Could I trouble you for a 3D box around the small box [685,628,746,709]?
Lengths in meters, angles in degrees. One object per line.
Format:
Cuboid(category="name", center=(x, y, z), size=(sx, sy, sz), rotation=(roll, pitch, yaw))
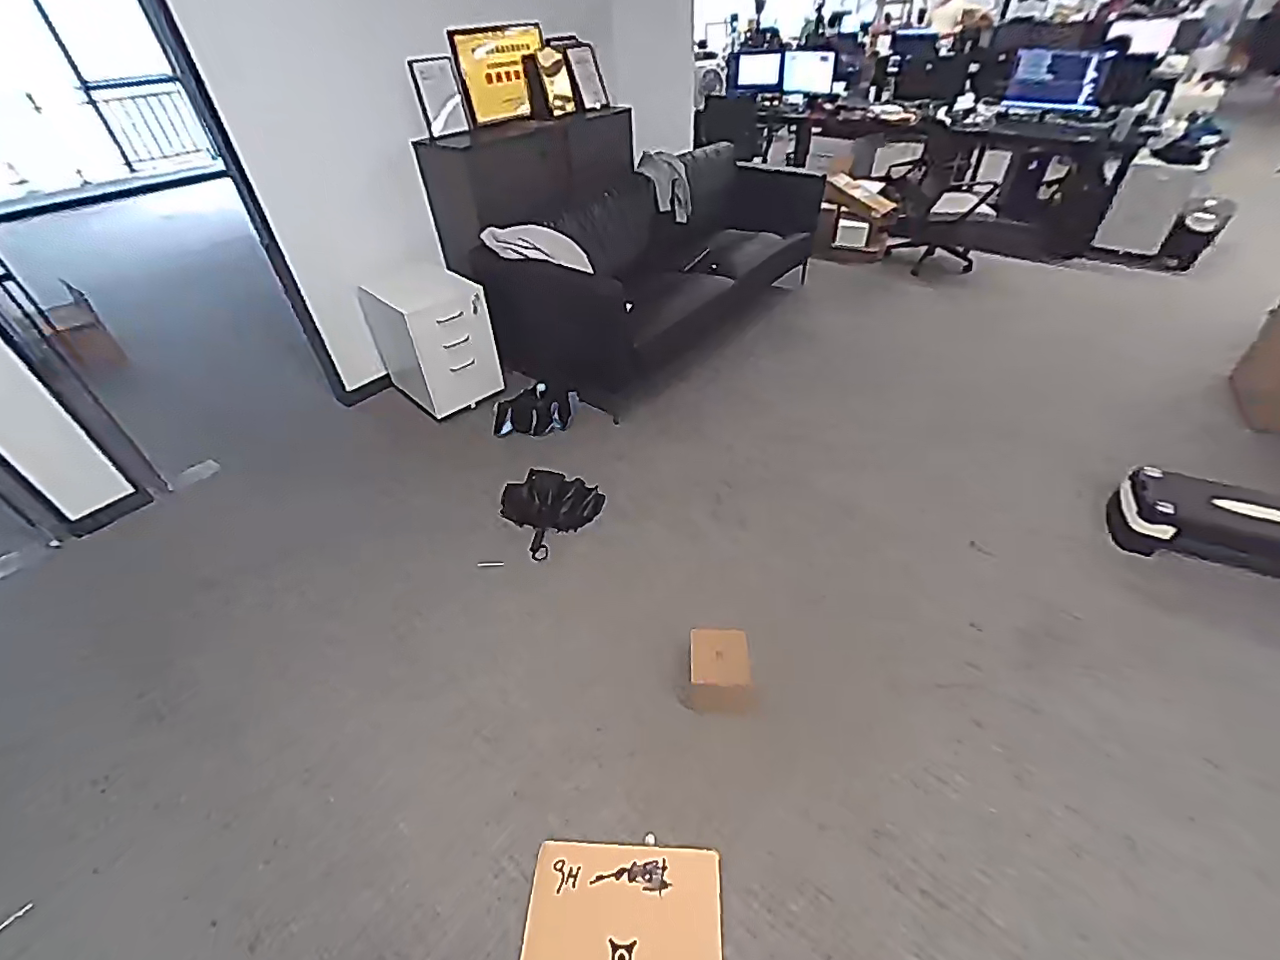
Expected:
Cuboid(category="small box", center=(0.222, 0.565, 1.614), size=(0.168, 0.176, 0.179), rotation=(1, 40, 2))
